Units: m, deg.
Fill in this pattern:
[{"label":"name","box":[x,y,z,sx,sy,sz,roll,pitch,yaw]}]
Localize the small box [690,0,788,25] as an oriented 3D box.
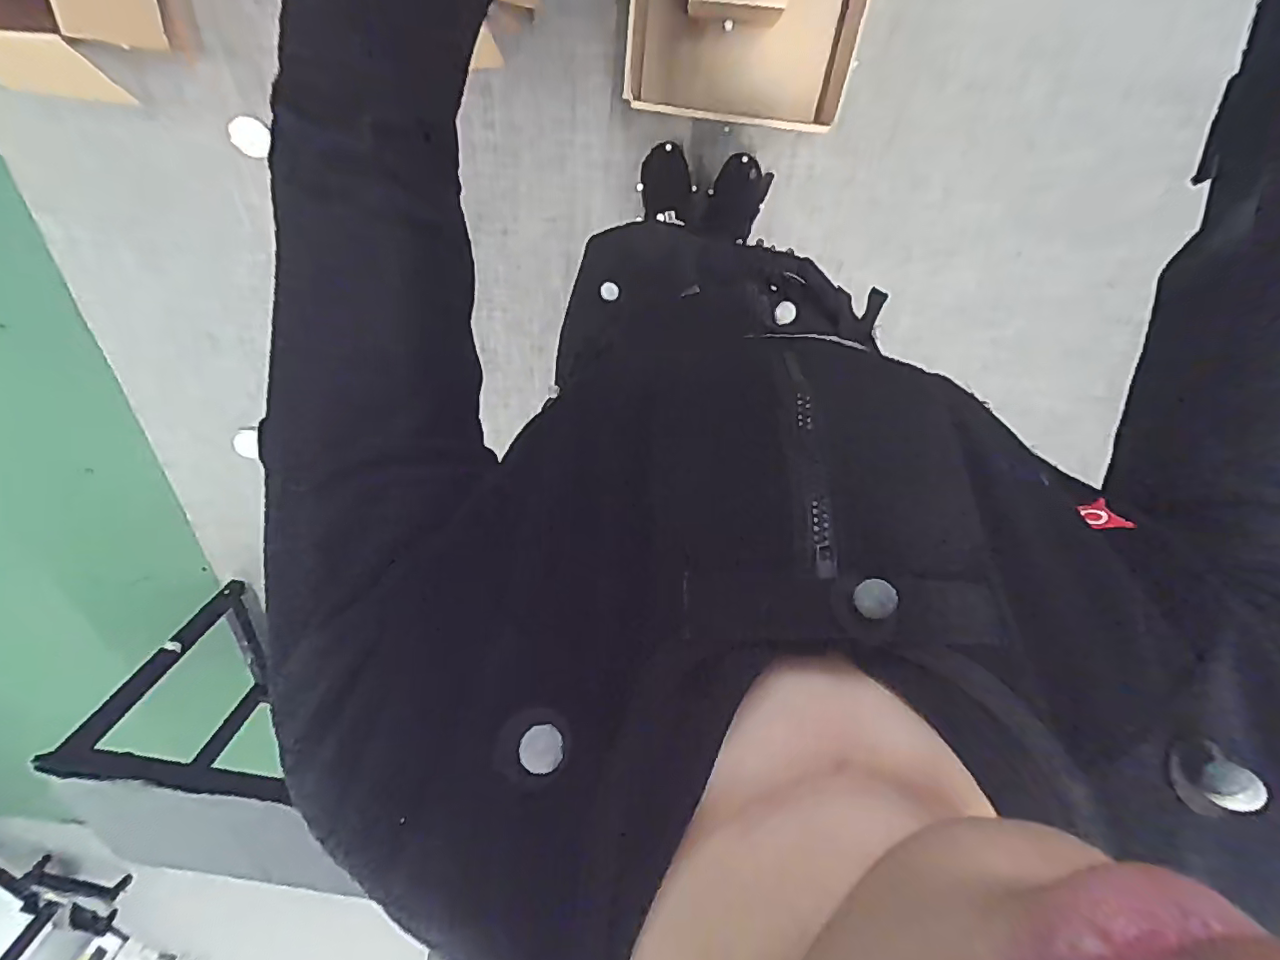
[{"label":"small box","box":[0.173,-0.894,0.901,0.168,0.176,0.179,7,122,1]}]
